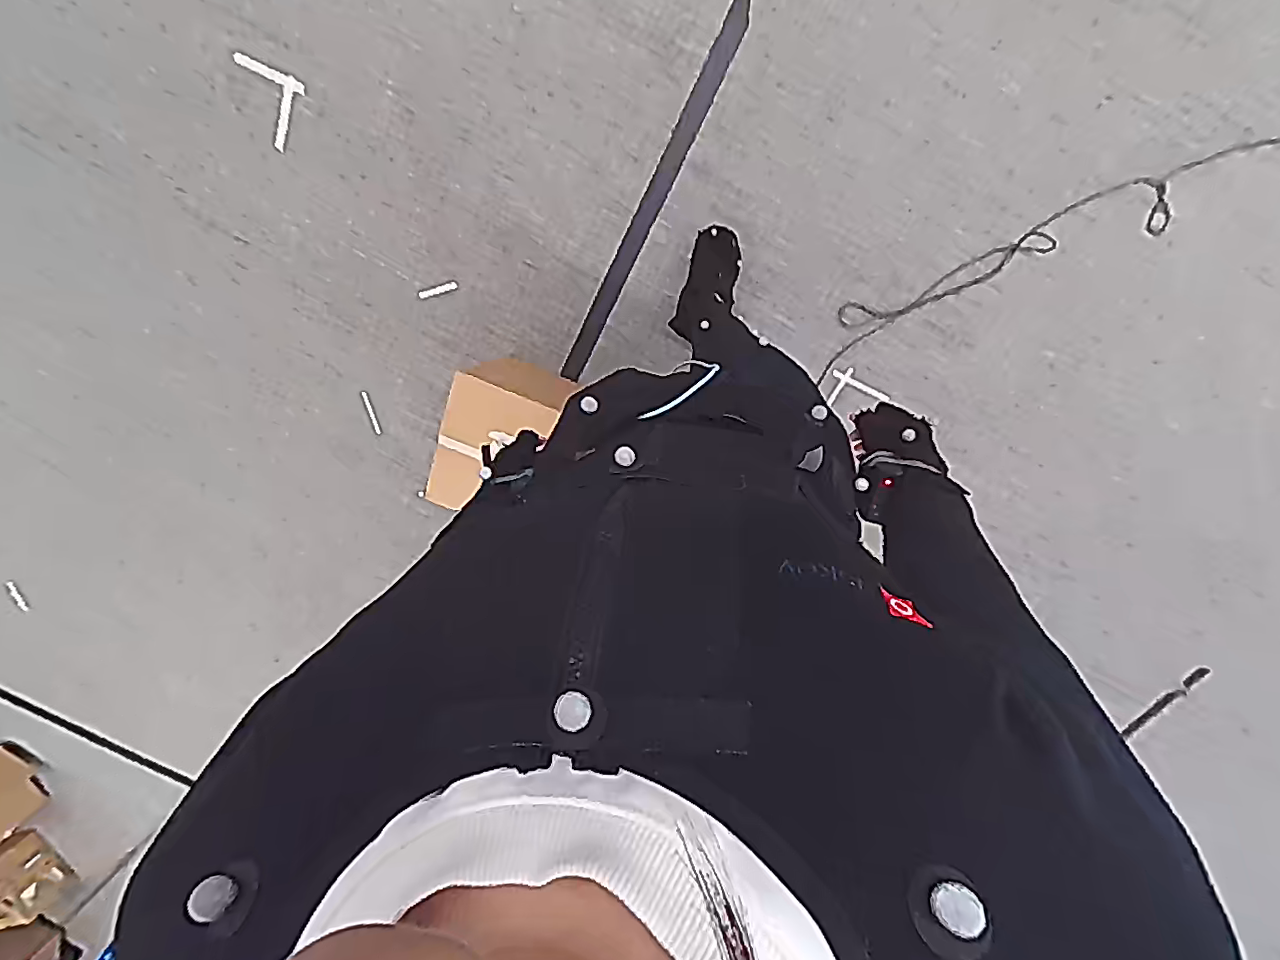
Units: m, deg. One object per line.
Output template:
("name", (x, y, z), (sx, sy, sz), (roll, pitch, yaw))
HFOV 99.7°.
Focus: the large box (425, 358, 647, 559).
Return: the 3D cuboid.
("large box", (-0.232, -0.069, 1.311), (0.408, 0.320, 0.320), (23, 109, 1))
